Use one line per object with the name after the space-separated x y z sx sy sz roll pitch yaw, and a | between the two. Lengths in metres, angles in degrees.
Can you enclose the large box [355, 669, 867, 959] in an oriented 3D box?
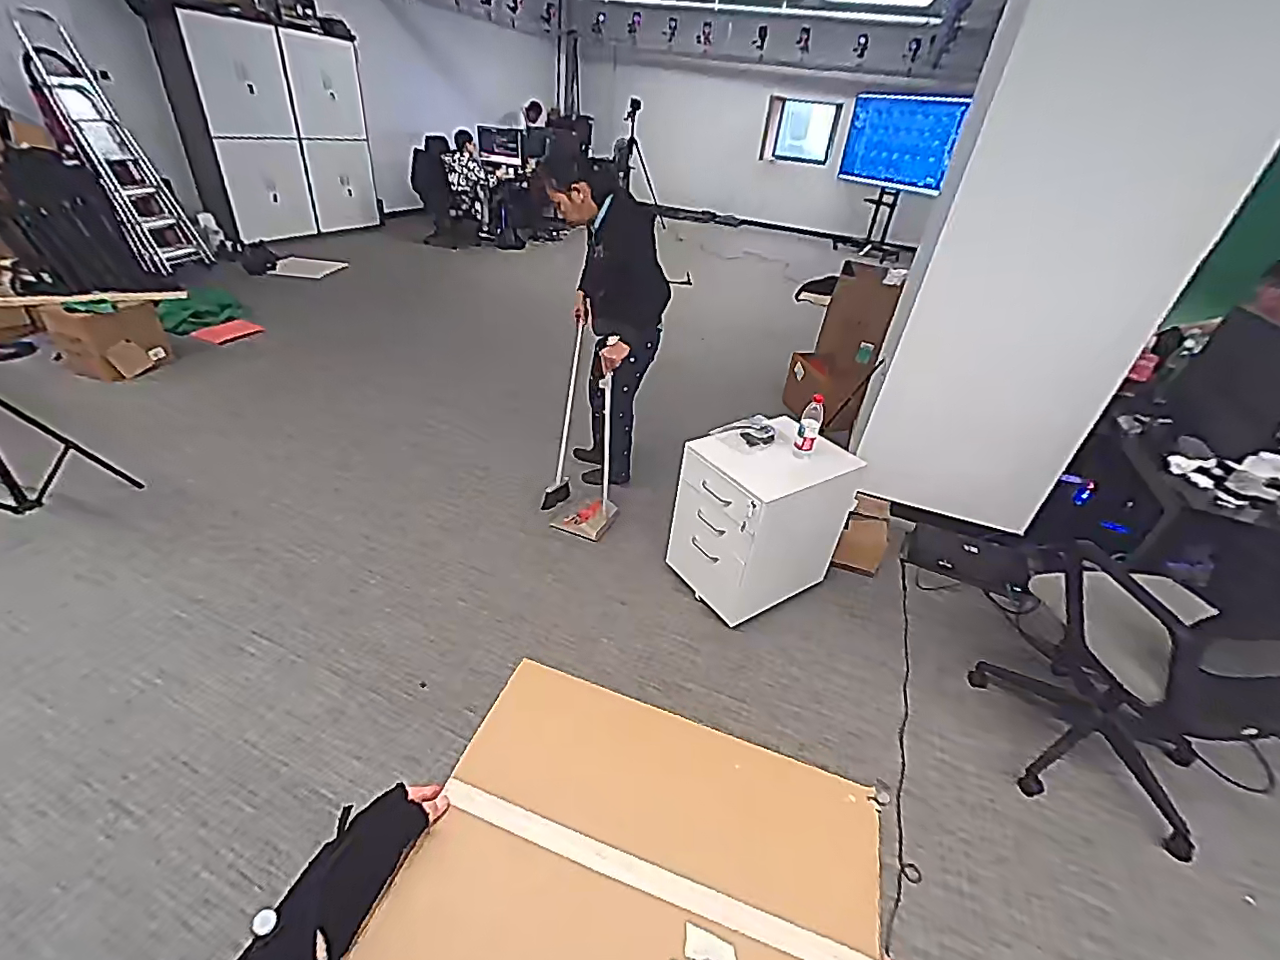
-0.015 0.476 0.579 0.408 0.320 0.320 17 38 11 | large box
